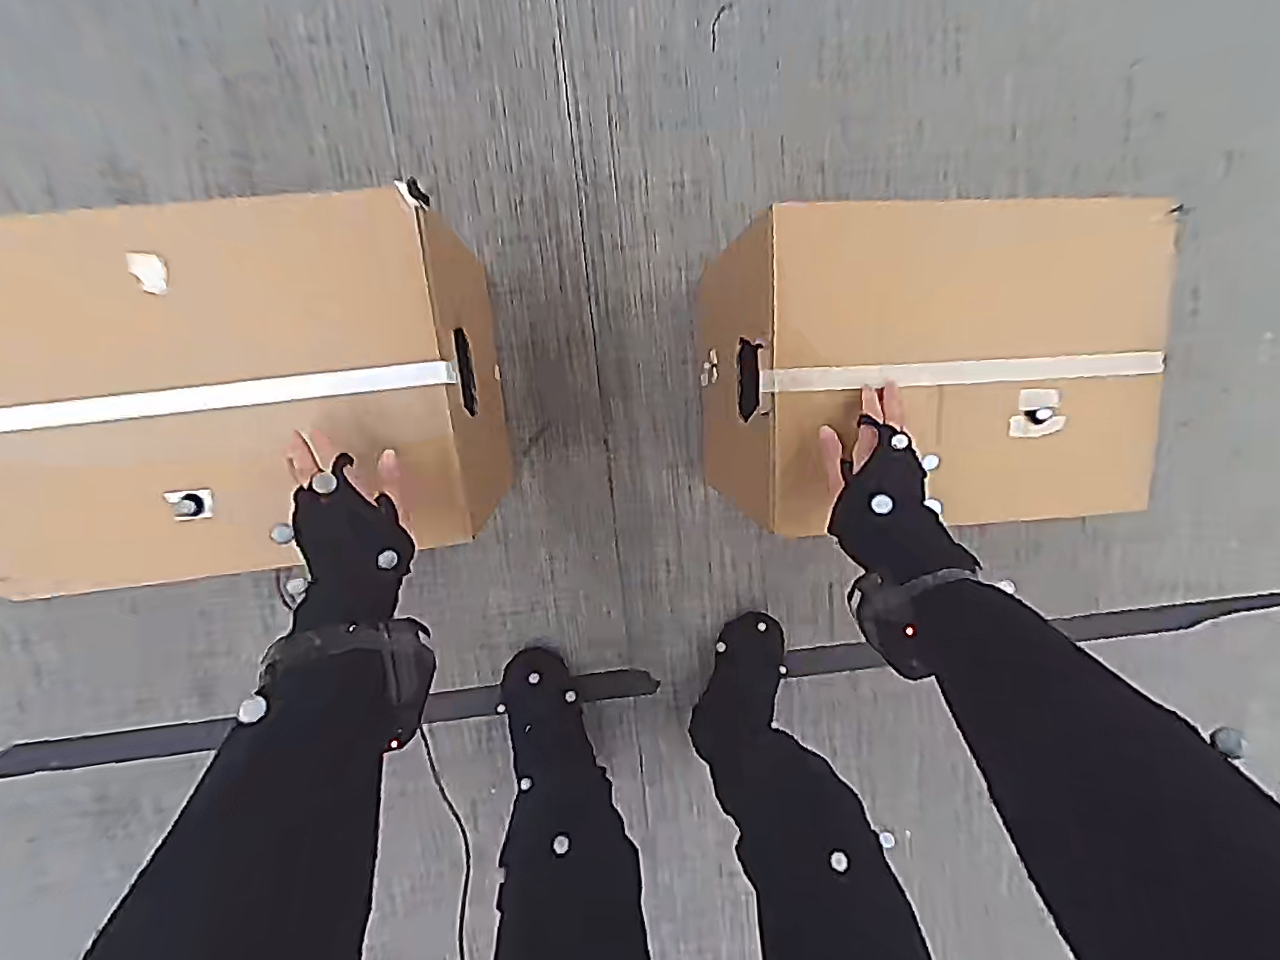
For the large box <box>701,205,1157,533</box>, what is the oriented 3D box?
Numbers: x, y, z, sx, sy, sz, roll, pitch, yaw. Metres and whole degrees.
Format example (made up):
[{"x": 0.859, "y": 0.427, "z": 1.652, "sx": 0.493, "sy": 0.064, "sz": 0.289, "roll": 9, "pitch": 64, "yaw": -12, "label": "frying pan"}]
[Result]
[{"x": 0.309, "y": -0.131, "z": 0.687, "sx": 0.408, "sy": 0.320, "sz": 0.320, "roll": -3, "pitch": 100, "yaw": -6, "label": "large box"}]
